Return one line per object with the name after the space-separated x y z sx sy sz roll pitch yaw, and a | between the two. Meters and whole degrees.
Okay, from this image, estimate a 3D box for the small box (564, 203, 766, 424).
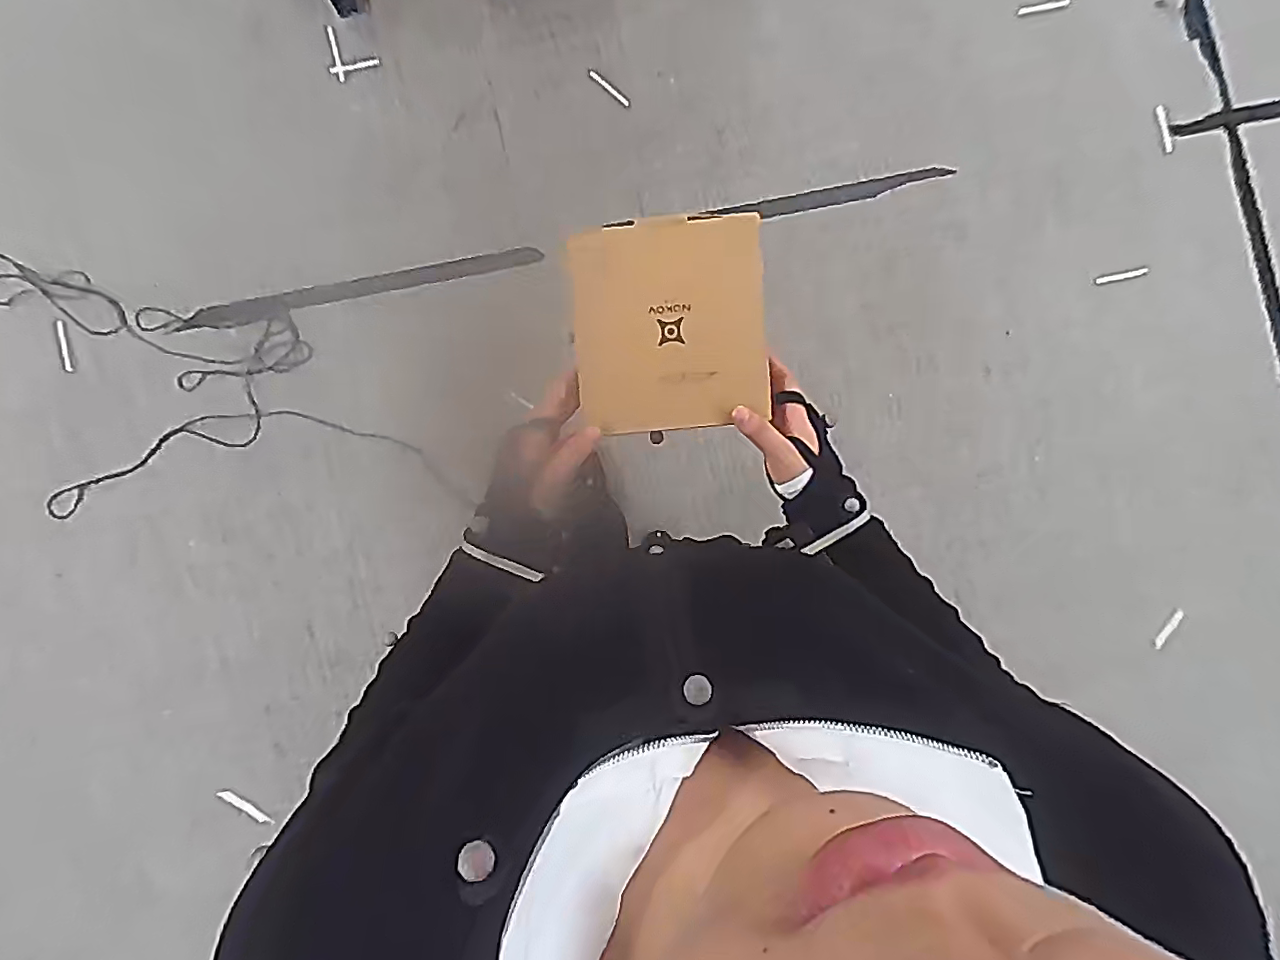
0.020 -0.149 0.539 0.168 0.176 0.179 -5 97 0 | small box
